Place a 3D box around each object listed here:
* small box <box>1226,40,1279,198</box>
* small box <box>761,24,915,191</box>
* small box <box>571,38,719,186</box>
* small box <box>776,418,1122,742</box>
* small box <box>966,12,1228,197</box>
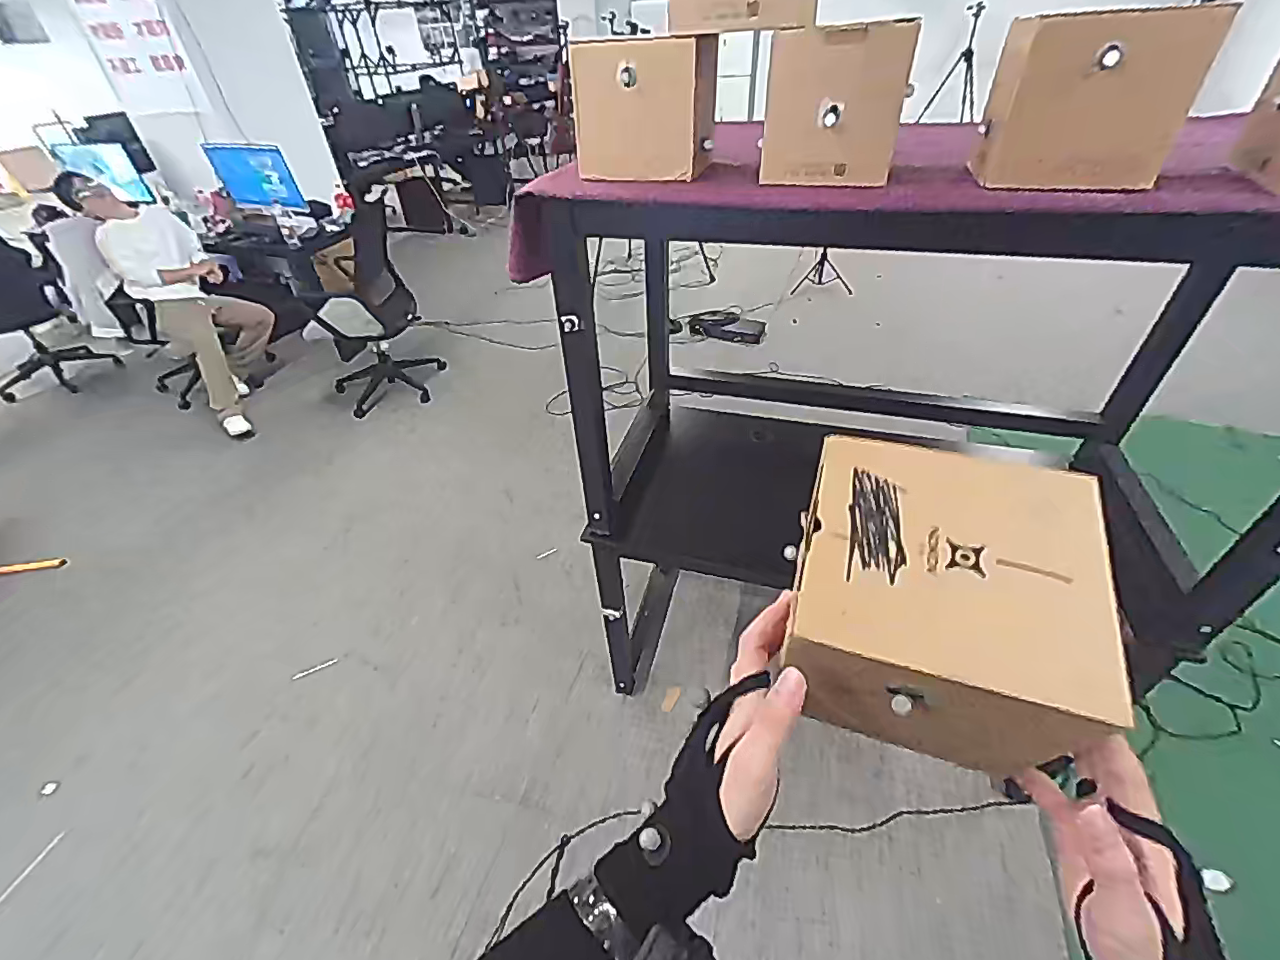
[{"bbox_3d":[0.803,-0.409,0.583,0.179,0.176,0.168,12,43,19],"label":"small box"},{"bbox_3d":[0.263,-0.505,0.739,0.168,0.176,0.179,9,41,15],"label":"small box"},{"bbox_3d":[0.014,-0.548,0.807,0.179,0.176,0.168,9,42,13],"label":"small box"},{"bbox_3d":[0.207,0.079,0.412,0.179,0.176,0.168,12,57,17],"label":"small box"},{"bbox_3d":[0.531,-0.458,0.665,0.179,0.176,0.168,9,40,17],"label":"small box"}]
